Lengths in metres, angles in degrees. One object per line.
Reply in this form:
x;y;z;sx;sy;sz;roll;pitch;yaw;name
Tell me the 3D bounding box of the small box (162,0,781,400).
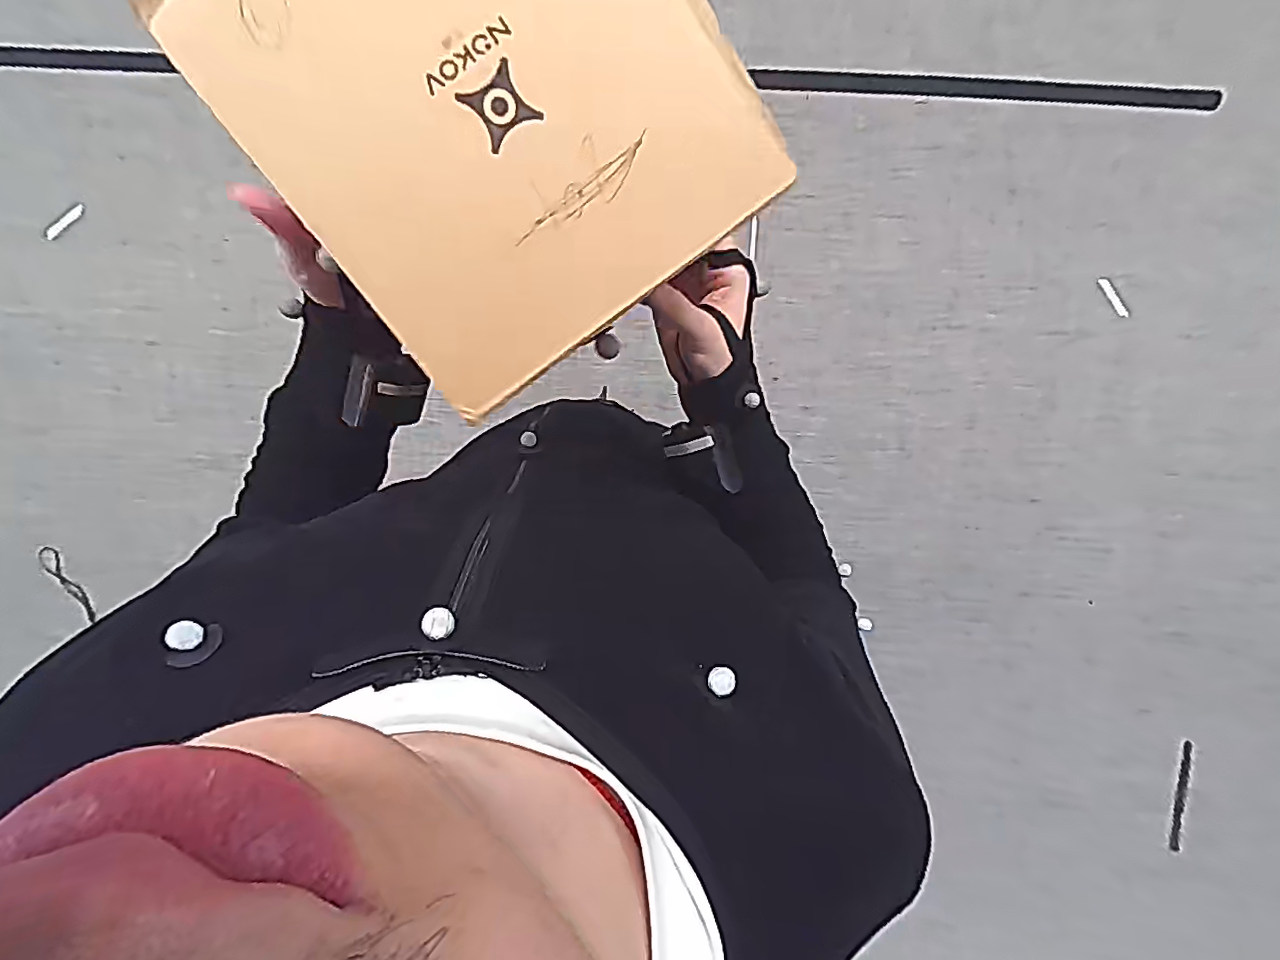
-0.064;-0.163;0.284;0.168;0.176;0.179;-37;105;3;small box
